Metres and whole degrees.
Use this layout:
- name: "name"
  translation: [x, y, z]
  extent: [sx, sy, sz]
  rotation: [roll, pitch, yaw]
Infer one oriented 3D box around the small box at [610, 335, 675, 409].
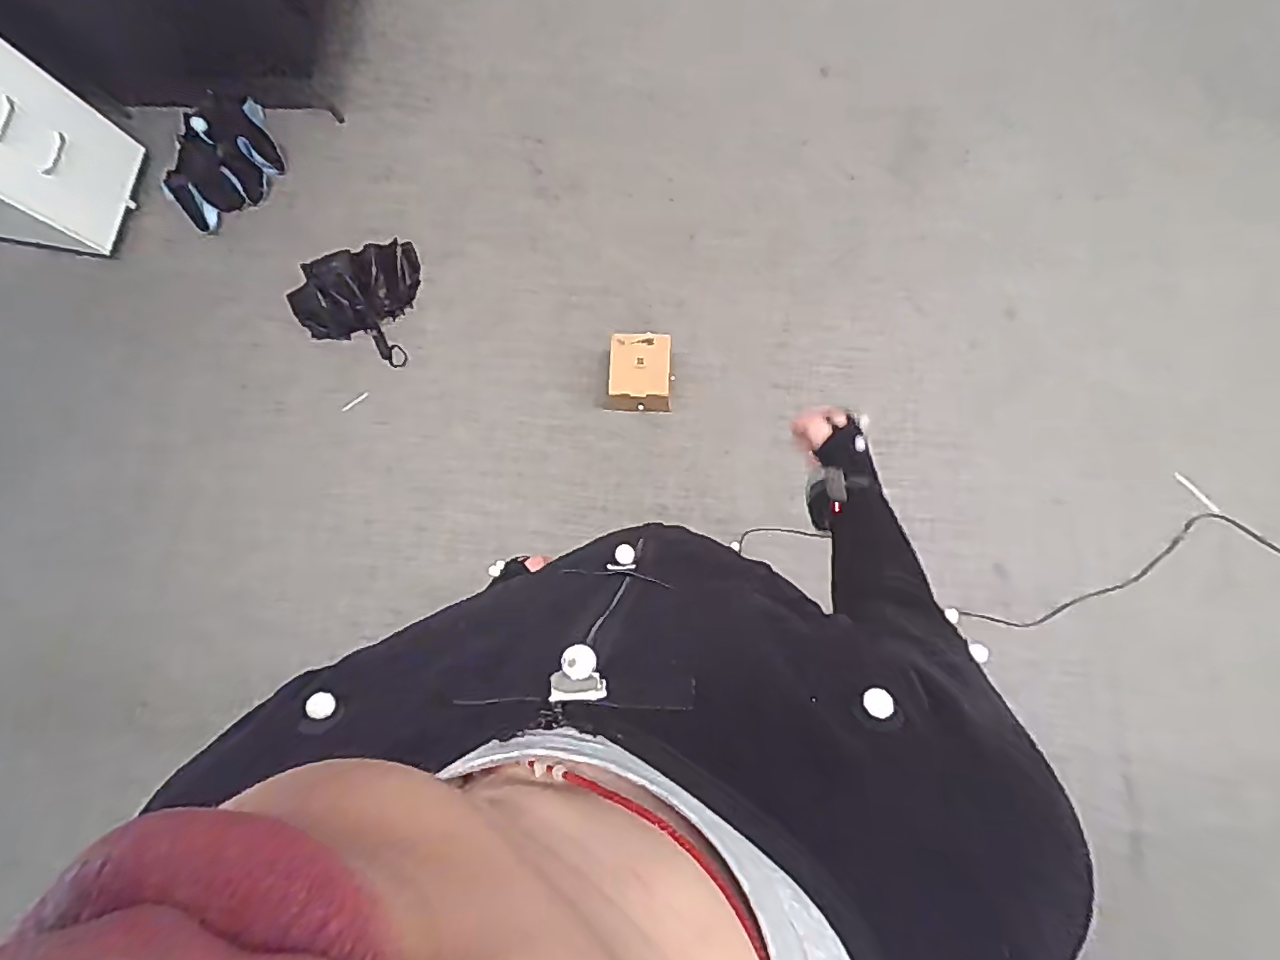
- name: "small box"
  translation: [0.012, -0.304, 1.550]
  extent: [0.168, 0.176, 0.179]
  rotation: [2, 84, 6]
